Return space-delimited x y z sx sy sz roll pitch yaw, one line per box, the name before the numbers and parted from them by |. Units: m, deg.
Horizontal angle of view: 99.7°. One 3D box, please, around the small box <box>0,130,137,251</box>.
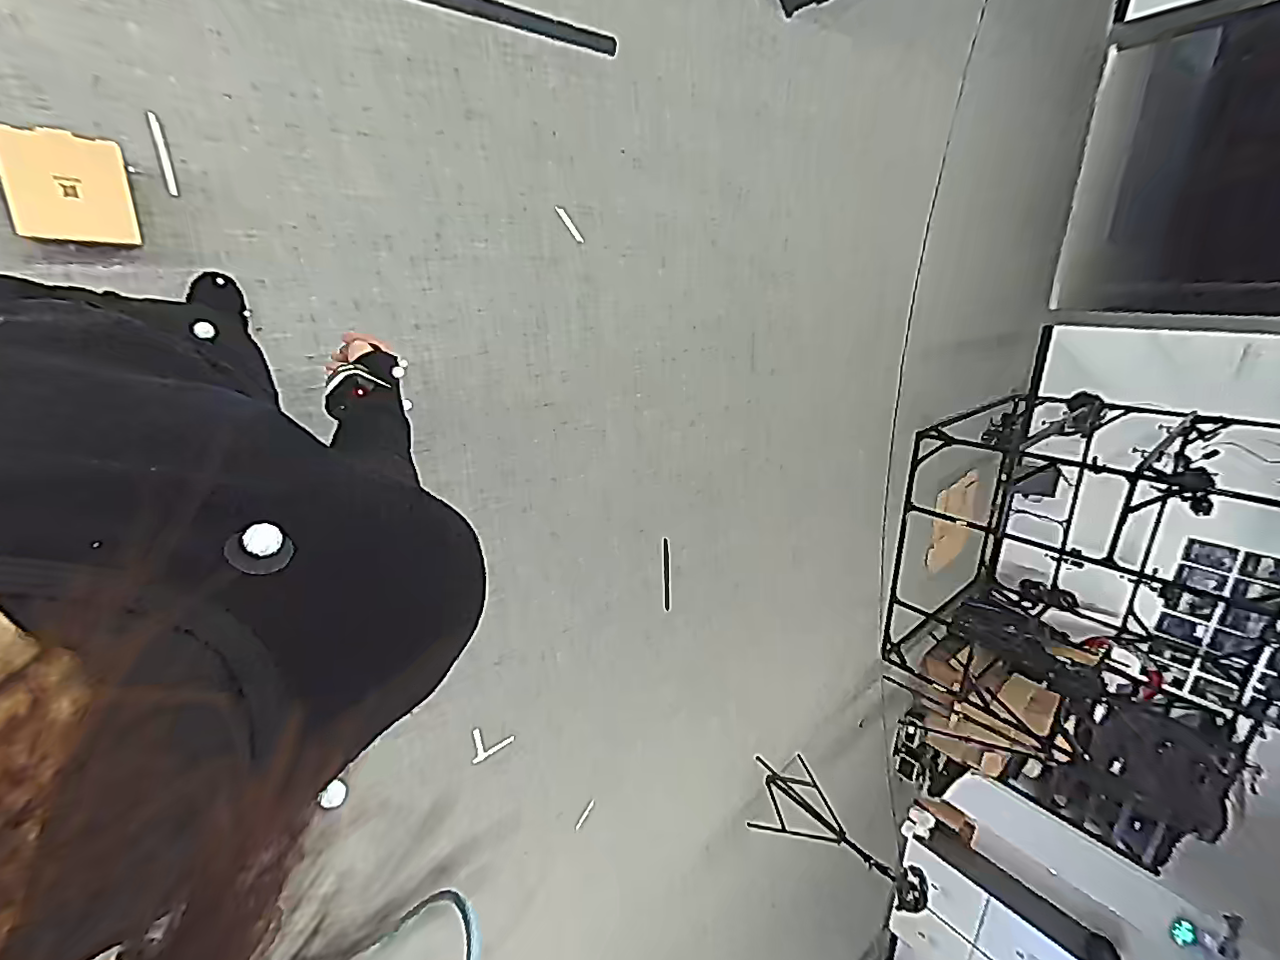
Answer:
small box | -1.080 -0.533 1.021 0.168 0.176 0.179 -14 113 -38
